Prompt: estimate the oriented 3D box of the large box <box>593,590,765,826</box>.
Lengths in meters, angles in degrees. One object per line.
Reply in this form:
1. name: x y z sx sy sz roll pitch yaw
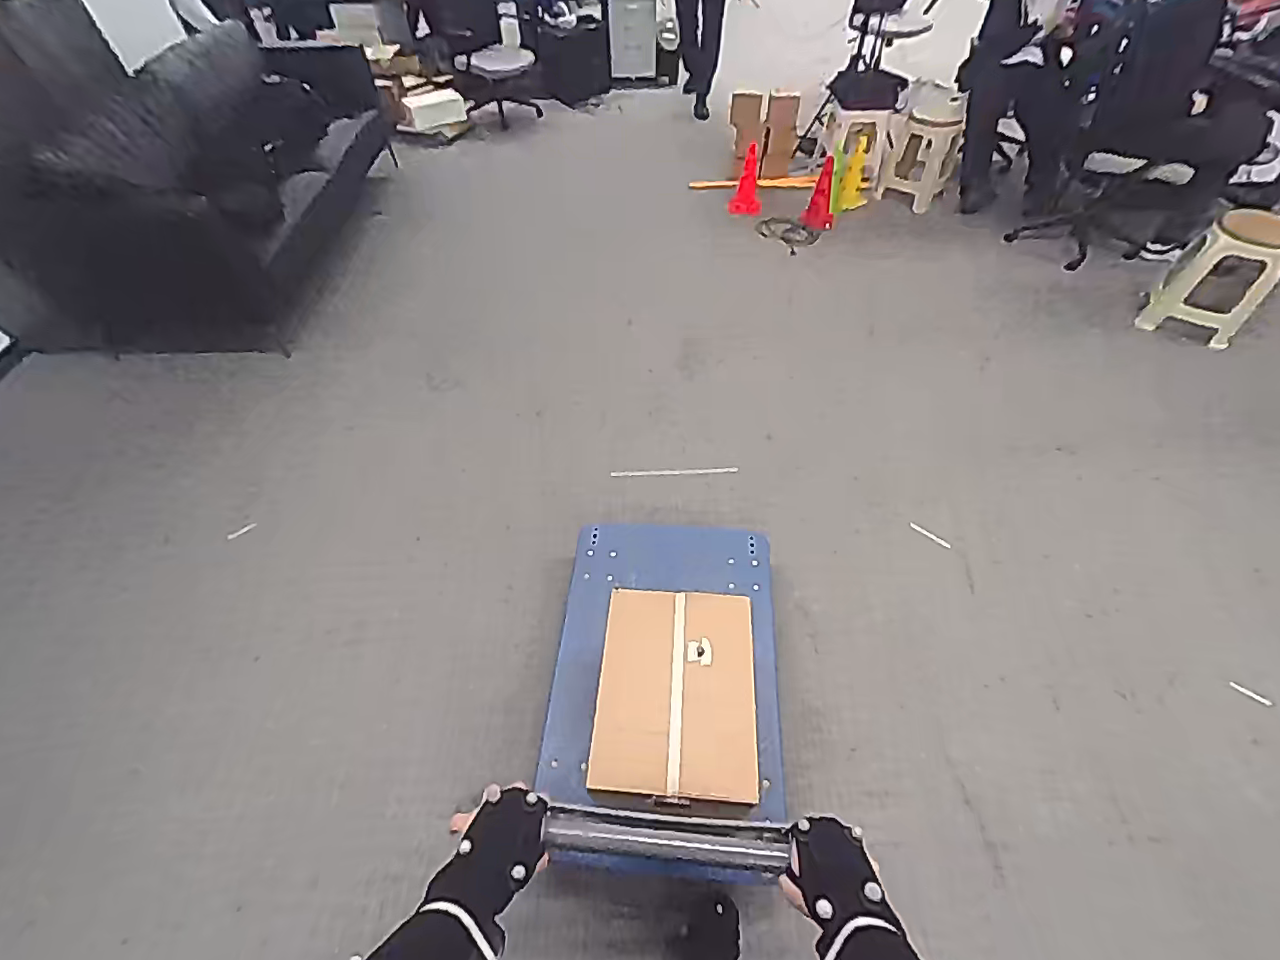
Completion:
1. large box: 0.086 0.502 1.196 0.320 0.320 0.408 3 50 4
